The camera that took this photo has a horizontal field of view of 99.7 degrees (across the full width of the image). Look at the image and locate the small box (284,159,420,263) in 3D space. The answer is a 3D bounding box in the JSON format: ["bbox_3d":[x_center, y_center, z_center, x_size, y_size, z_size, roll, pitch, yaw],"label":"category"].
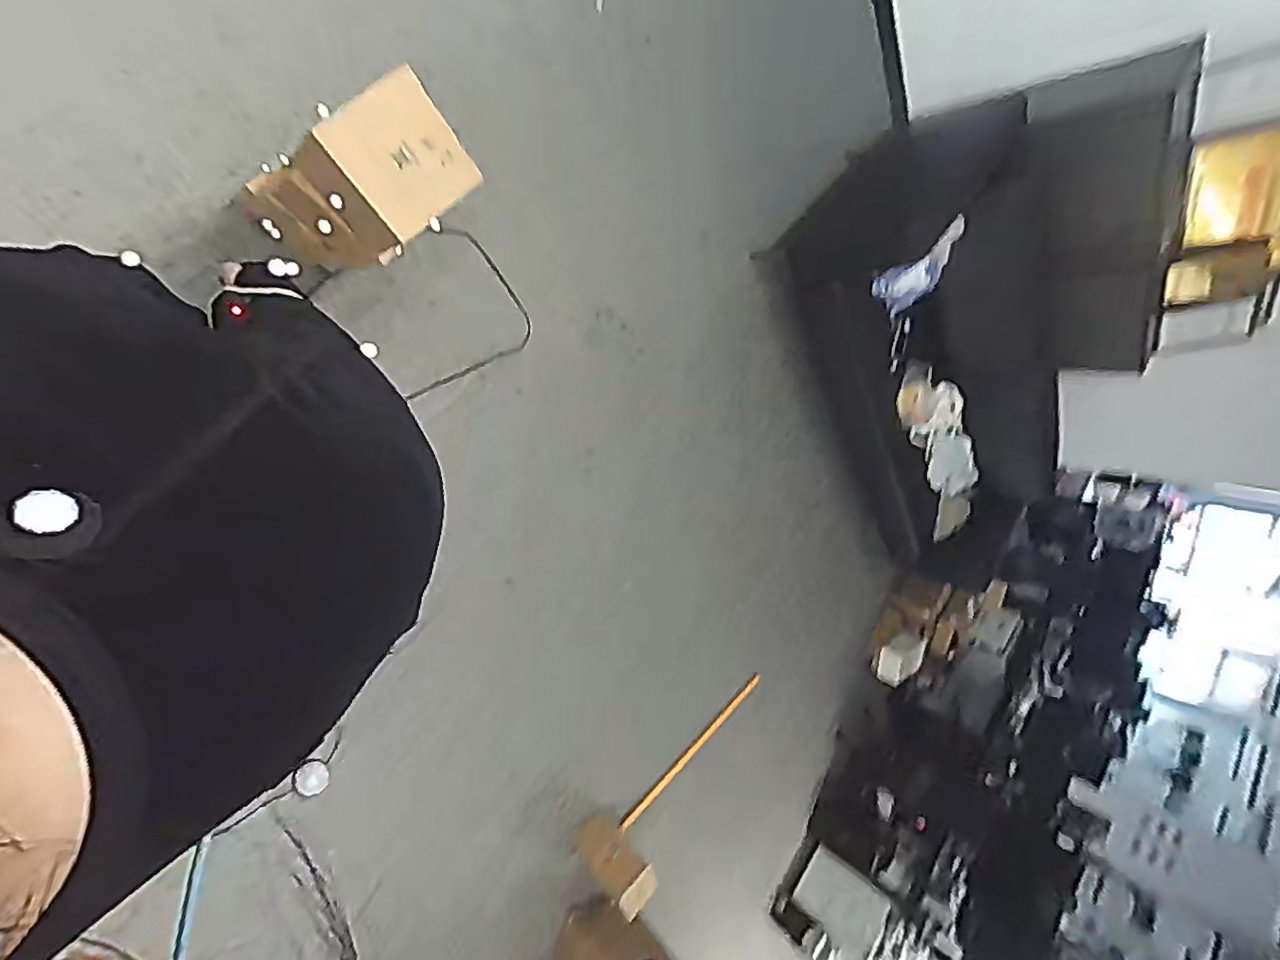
[{"bbox_3d":[-0.486,-0.506,0.953,0.179,0.176,0.168,43,74,-39],"label":"small box"}]

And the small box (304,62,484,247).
[{"bbox_3d":[-0.381,-0.483,0.829,0.179,0.176,0.168,-50,129,-18],"label":"small box"}]

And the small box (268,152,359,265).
[{"bbox_3d":[-0.598,-0.548,1.065,0.168,0.176,0.179,39,75,-40],"label":"small box"}]
